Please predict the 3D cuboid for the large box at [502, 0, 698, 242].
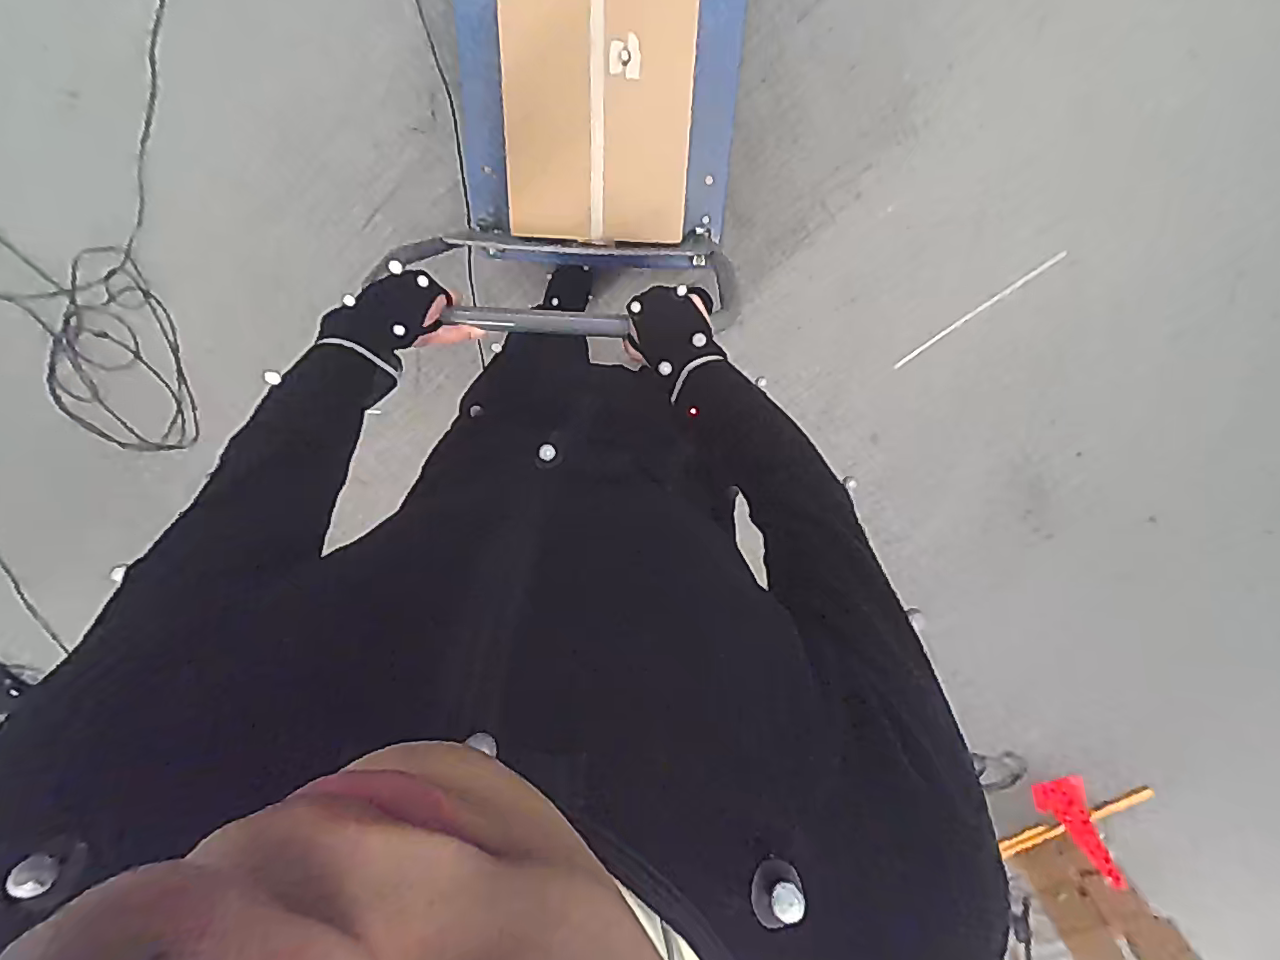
[{"bbox_3d":[-0.062,-0.685,1.044,0.320,0.320,0.408,4,115,1],"label":"large box"}]
